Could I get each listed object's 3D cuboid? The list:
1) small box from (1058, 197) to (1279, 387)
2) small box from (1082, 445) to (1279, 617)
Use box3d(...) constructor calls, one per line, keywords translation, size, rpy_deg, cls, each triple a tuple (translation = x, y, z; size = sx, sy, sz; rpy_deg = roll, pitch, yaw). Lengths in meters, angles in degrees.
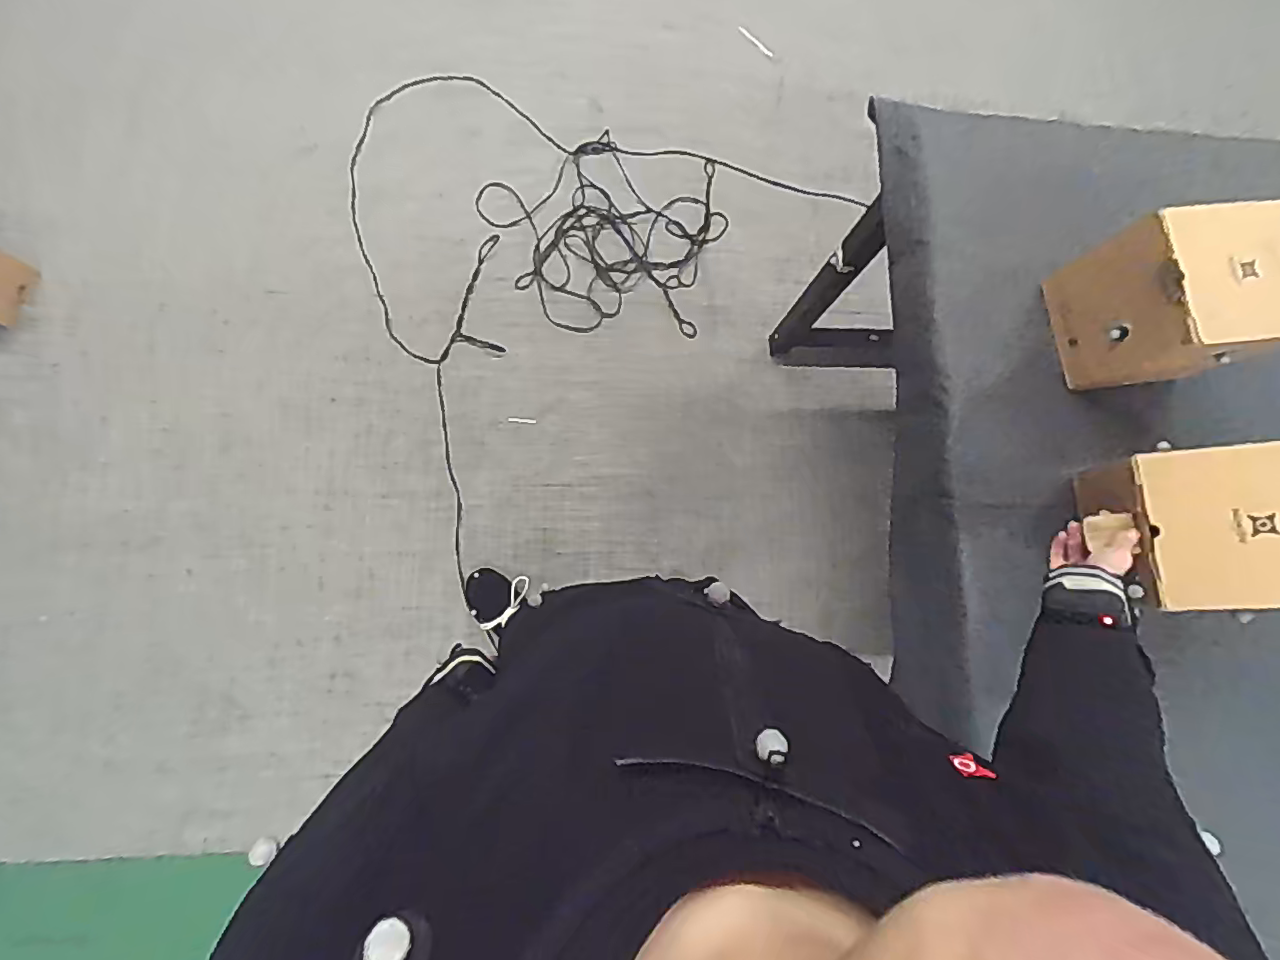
box3d(translation=(0.671, -0.224, 0.678), size=(0.179, 0.176, 0.168), rpy_deg=(-7, 83, -8), cls="small box")
box3d(translation=(0.638, 0.055, 0.597), size=(0.179, 0.176, 0.168), rpy_deg=(-8, 81, 21), cls="small box")
